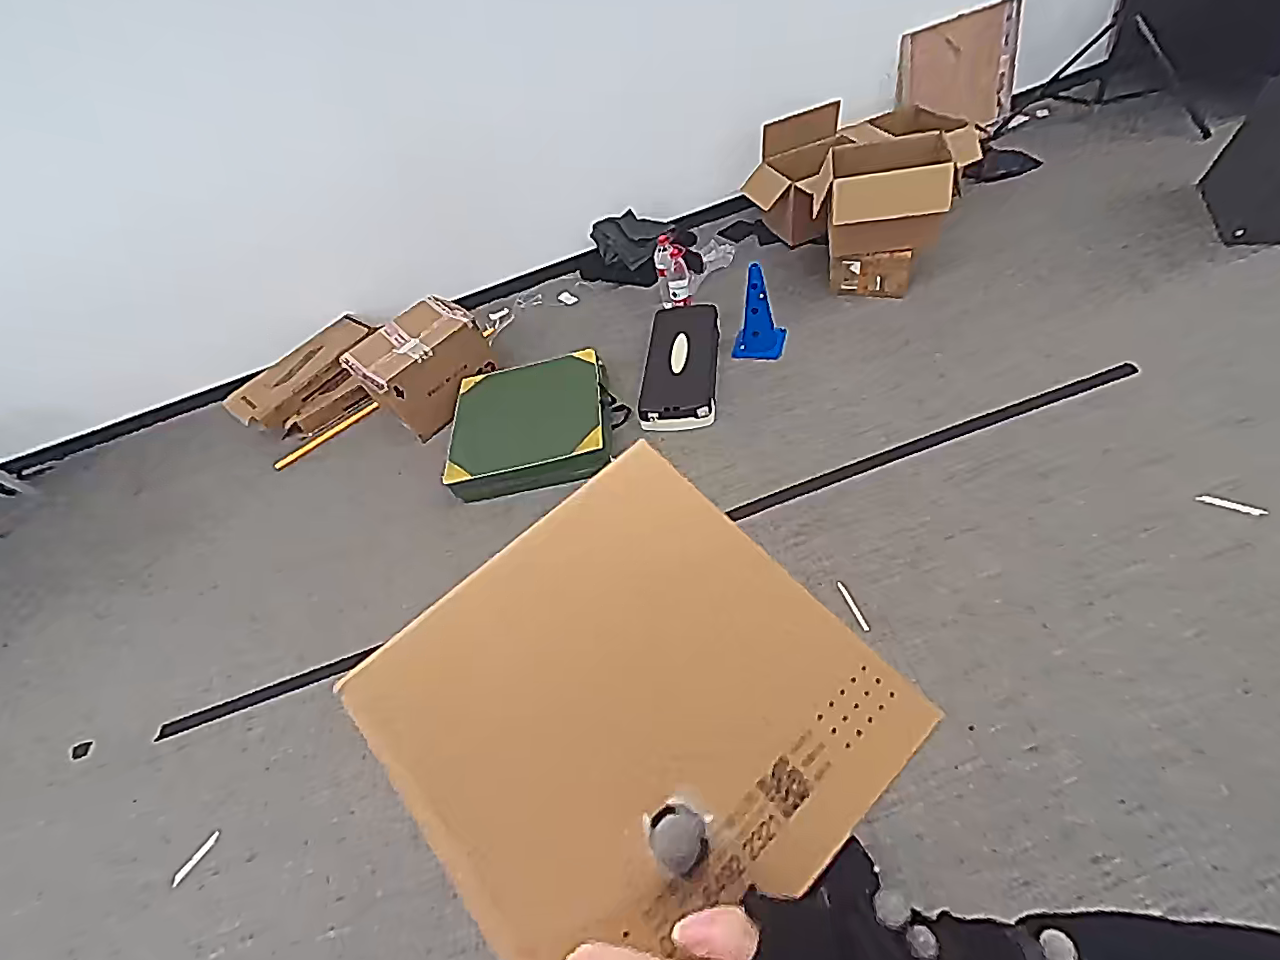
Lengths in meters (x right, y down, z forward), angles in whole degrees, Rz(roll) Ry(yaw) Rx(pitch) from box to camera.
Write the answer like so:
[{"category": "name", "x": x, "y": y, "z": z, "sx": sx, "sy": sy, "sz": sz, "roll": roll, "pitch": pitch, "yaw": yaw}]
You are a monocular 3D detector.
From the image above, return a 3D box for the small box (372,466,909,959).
[{"category": "small box", "x": 0.003, "y": 0.131, "z": 0.296, "sx": 0.168, "sy": 0.179, "sz": 0.176, "roll": -41, "pitch": 68, "yaw": -15}]
